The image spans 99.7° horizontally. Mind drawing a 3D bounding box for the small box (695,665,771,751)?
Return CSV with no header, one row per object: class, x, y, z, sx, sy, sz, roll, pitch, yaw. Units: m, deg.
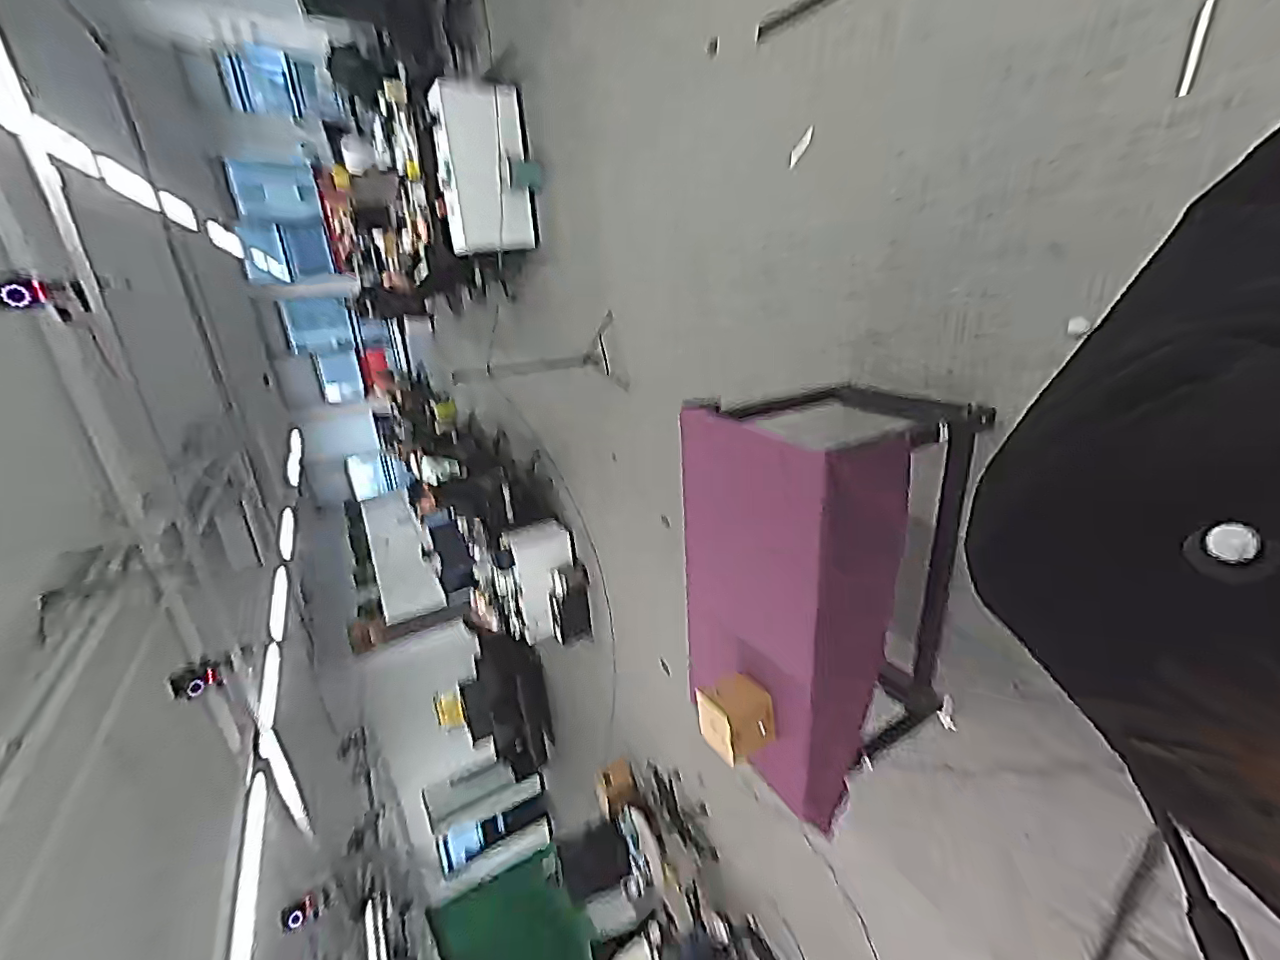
small box,0.297,0.717,1.730,0.179,0.176,0.168,19,121,59
